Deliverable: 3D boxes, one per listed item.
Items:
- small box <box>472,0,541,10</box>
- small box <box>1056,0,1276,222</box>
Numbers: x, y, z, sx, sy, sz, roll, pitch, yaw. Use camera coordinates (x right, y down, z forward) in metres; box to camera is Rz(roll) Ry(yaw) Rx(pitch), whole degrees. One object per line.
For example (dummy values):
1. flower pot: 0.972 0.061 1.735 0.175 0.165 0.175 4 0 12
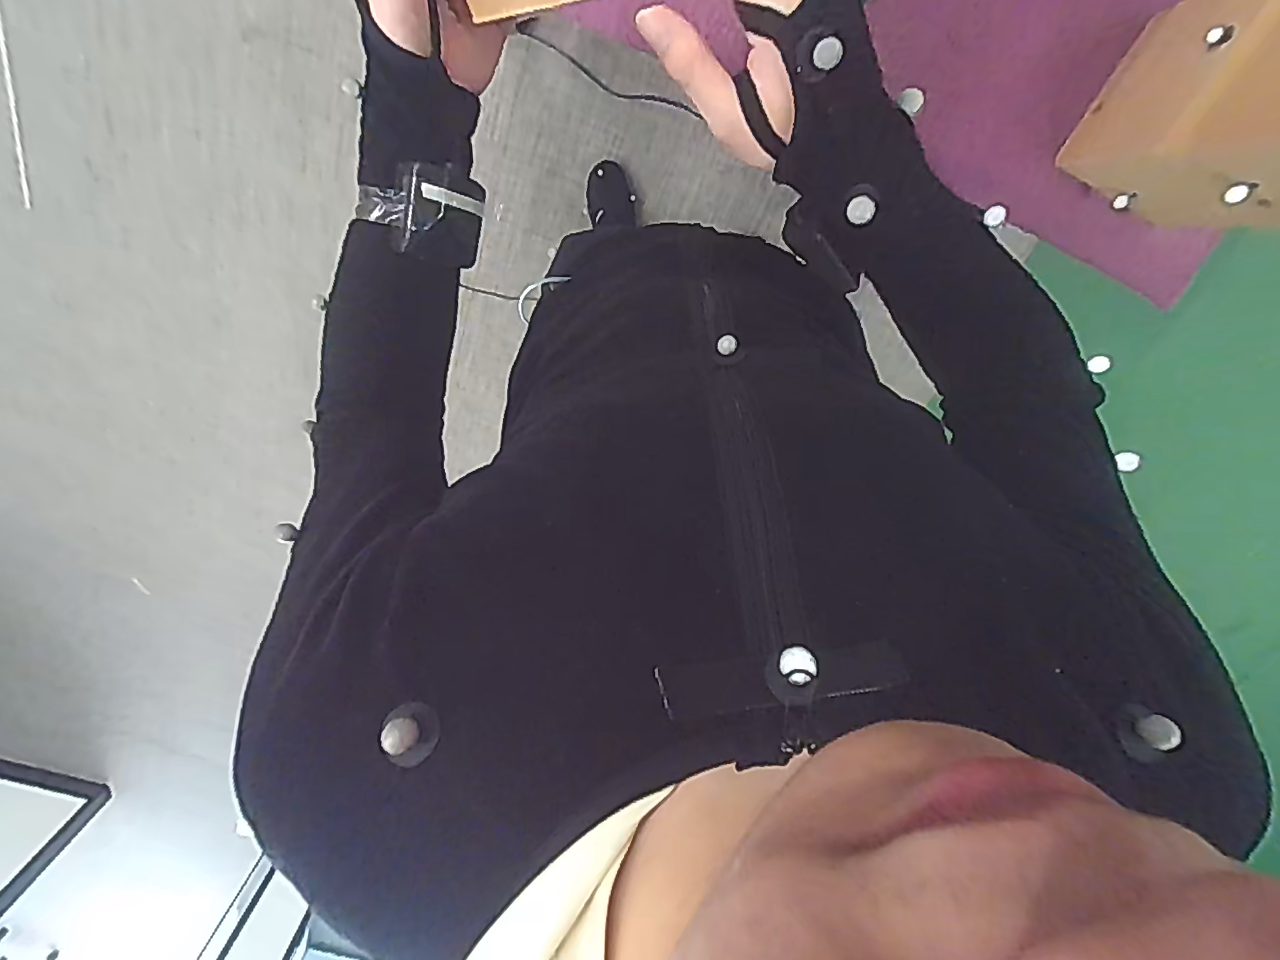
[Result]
1. small box: -0.033 -0.373 0.255 0.179 0.168 0.176 -53 144 -11
2. small box: 0.623 -0.404 0.586 0.179 0.176 0.168 23 116 -9
